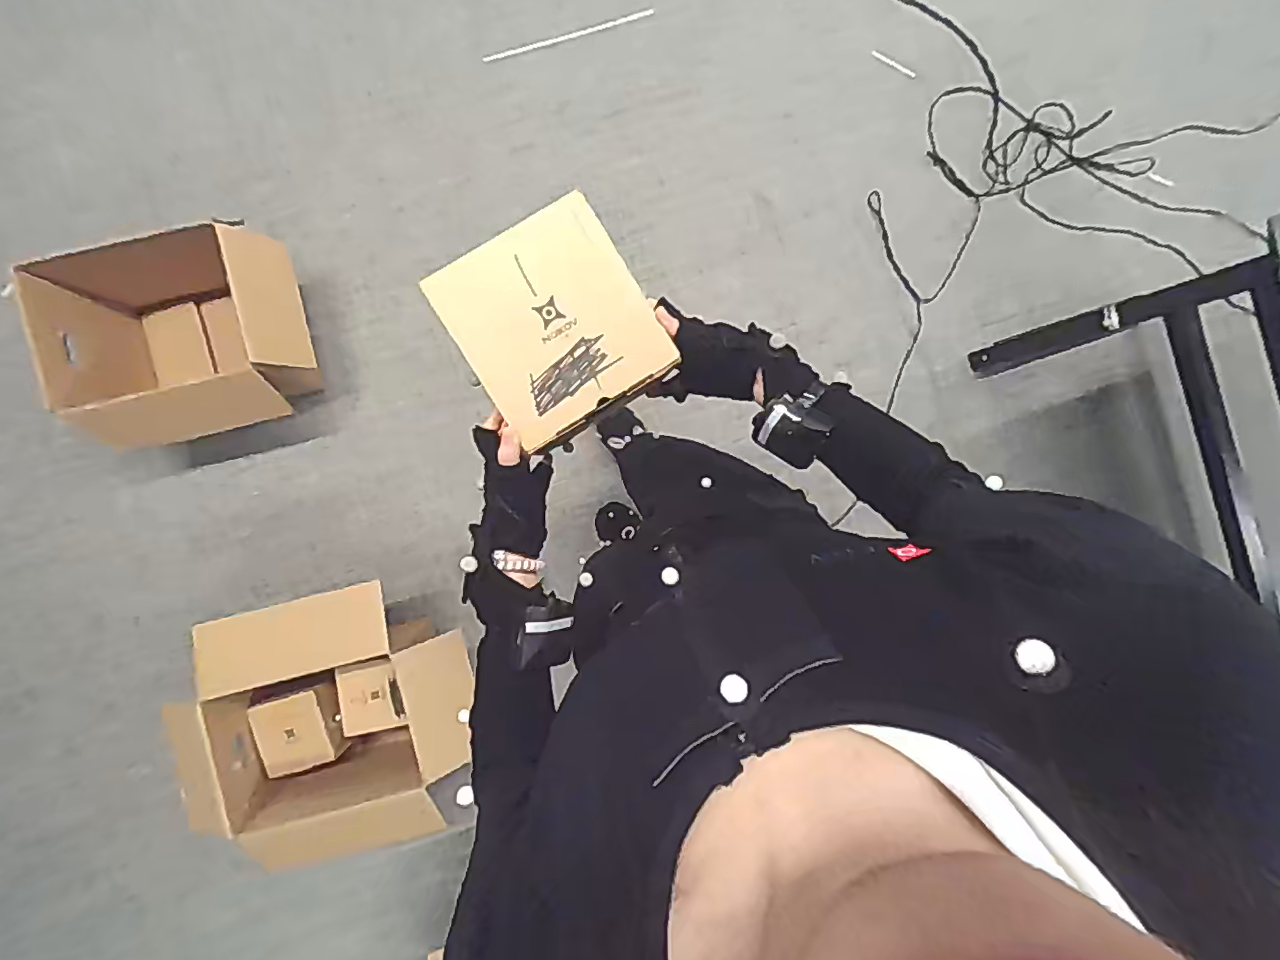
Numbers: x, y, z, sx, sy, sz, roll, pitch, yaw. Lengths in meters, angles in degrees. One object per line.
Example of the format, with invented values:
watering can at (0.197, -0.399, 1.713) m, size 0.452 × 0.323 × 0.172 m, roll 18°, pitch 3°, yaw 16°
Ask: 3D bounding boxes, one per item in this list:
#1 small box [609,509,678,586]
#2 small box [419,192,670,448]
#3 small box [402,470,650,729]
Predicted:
small box at (-0.001, 0.173, 1.435) m, size 0.179 × 0.176 × 0.168 m, roll 0°, pitch 101°, yaw 15°
small box at (-0.089, -0.147, 0.564) m, size 0.168 × 0.176 × 0.179 m, roll -32°, pitch 94°, yaw -3°
small box at (-0.113, 0.128, 0.546) m, size 0.168 × 0.176 × 0.179 m, roll 32°, pitch 46°, yaw -22°
